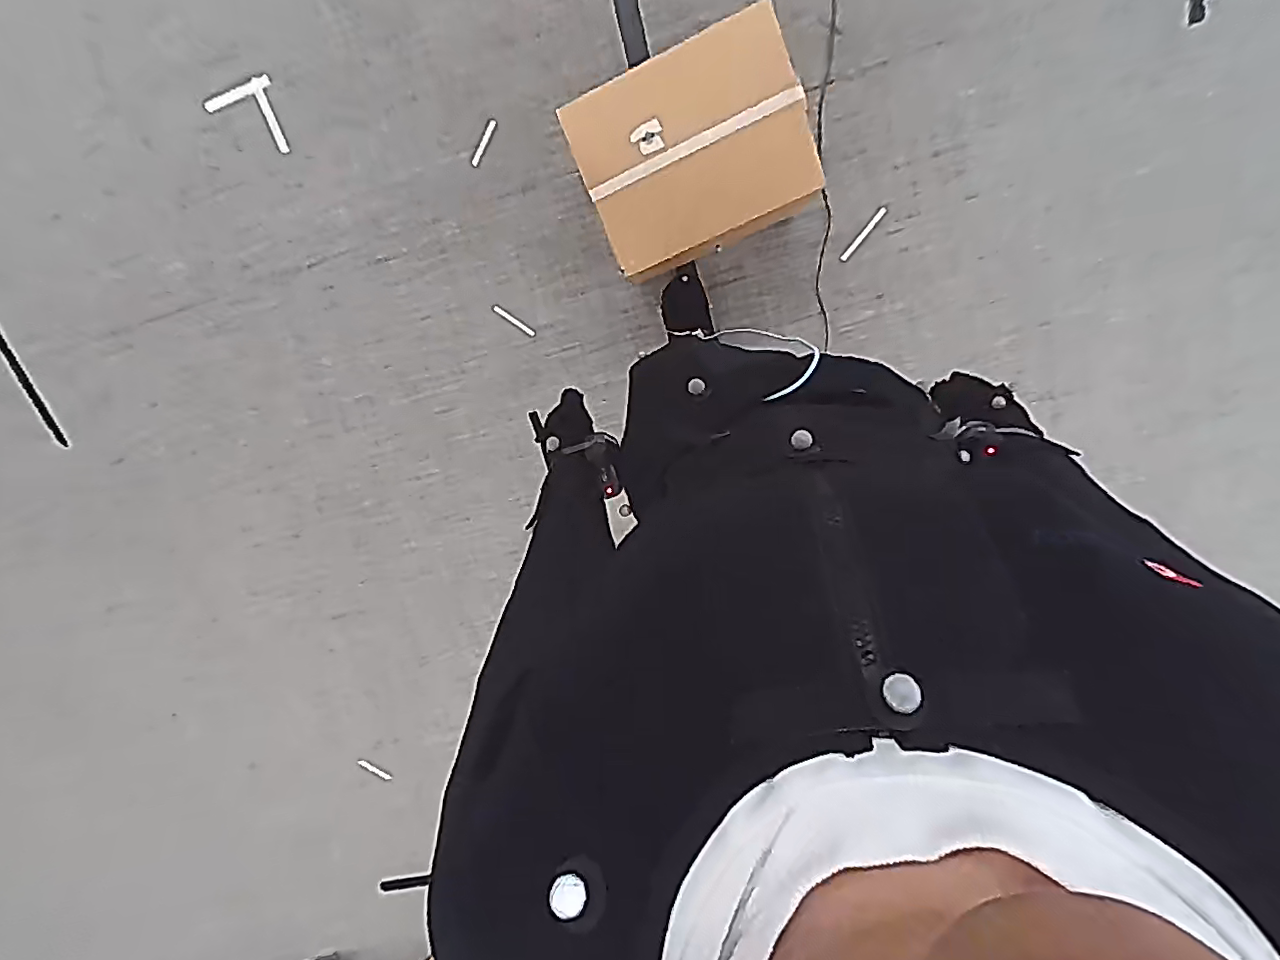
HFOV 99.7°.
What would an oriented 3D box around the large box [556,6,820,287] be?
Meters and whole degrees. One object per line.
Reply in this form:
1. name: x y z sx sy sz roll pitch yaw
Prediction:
1. large box: 0.099 -0.633 1.115 0.408 0.320 0.320 -21 103 11
